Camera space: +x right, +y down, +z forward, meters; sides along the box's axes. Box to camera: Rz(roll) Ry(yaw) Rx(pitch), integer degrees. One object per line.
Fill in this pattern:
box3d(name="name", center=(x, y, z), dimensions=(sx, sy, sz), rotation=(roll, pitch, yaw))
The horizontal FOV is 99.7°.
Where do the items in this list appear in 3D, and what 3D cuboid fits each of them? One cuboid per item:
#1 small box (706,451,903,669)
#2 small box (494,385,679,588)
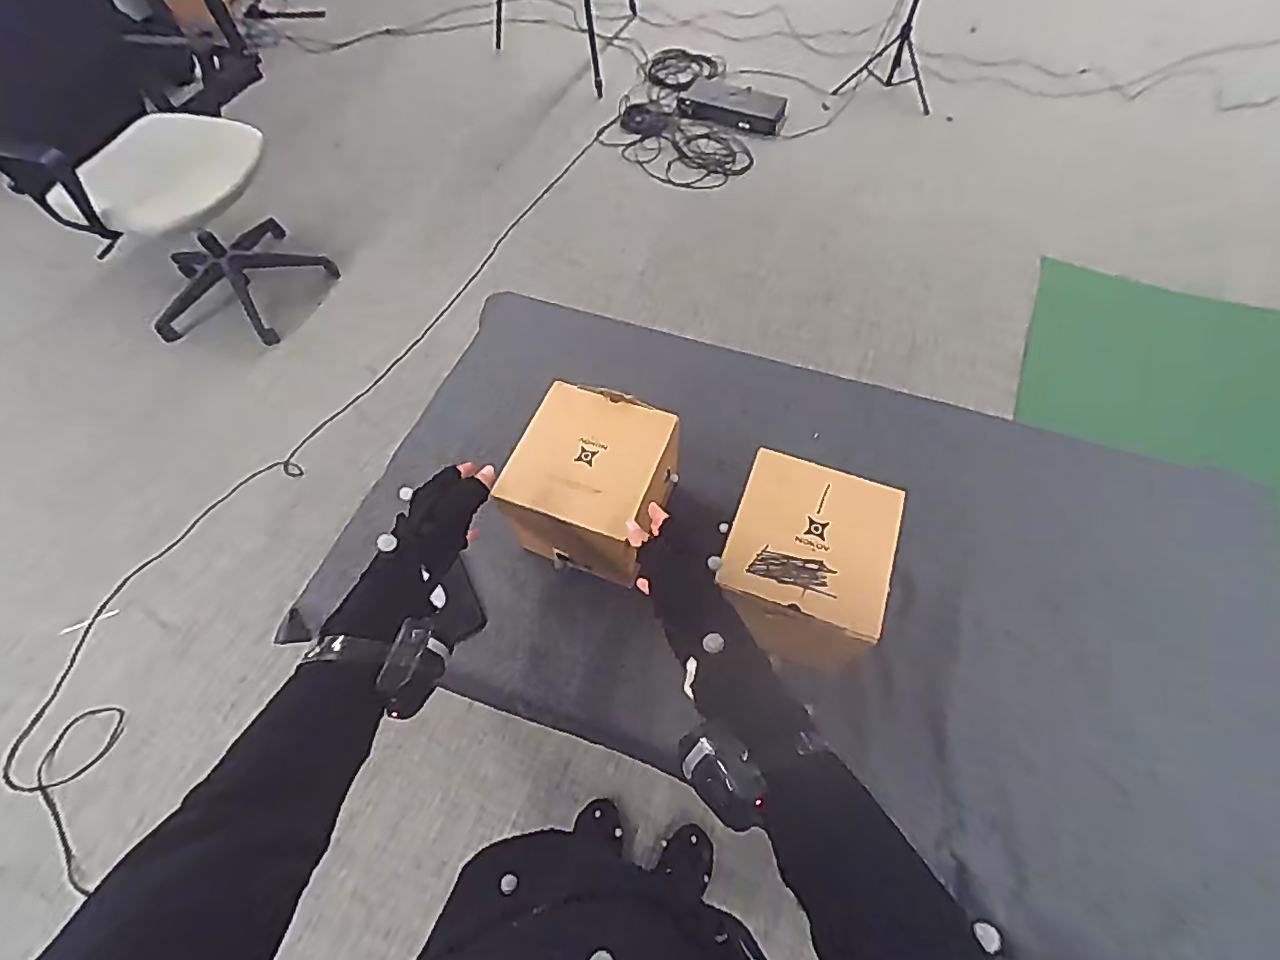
box3d(name="small box", center=(0.181, 0.100, 0.635), dimensions=(0.168, 0.176, 0.179), rotation=(19, 62, 12))
box3d(name="small box", center=(-0.057, 0.013, 0.693), dimensions=(0.168, 0.176, 0.179), rotation=(17, 64, 12))
